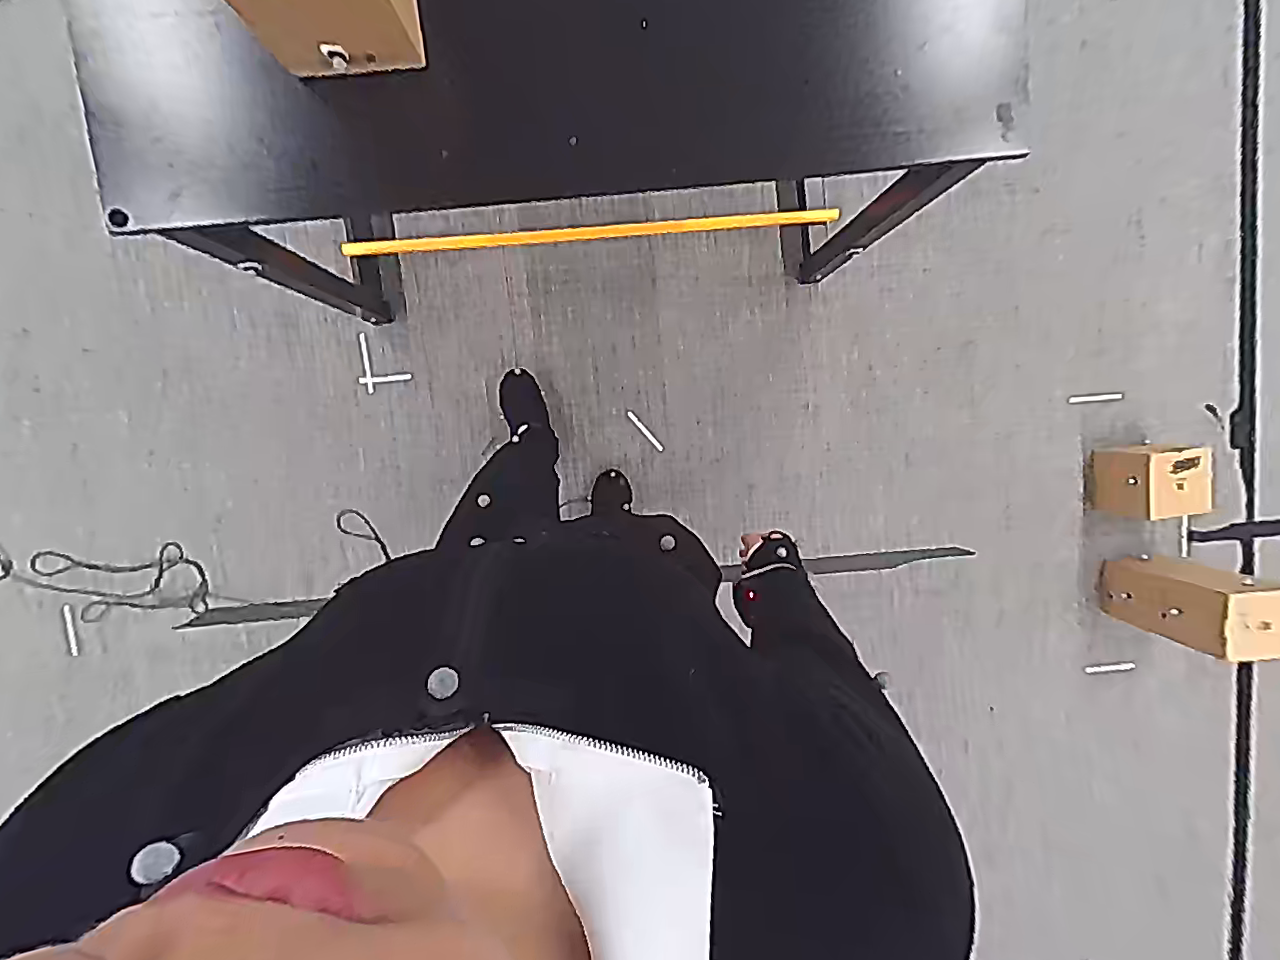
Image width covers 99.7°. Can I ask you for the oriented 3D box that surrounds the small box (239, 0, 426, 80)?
[{"bbox_3d":[-0.357,-0.592,0.598,0.168,0.176,0.179,-7,97,-1],"label":"small box"}]

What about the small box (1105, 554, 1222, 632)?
[{"bbox_3d":[1.437,0.308,1.495,0.179,0.176,0.168,-5,96,-1],"label":"small box"}]

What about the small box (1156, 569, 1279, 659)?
[{"bbox_3d":[1.437,0.322,1.329,0.179,0.176,0.168,-4,96,-1],"label":"small box"}]

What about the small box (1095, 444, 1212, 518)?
[{"bbox_3d":[1.373,-0.005,1.457,0.168,0.176,0.179,-7,97,-1],"label":"small box"}]
